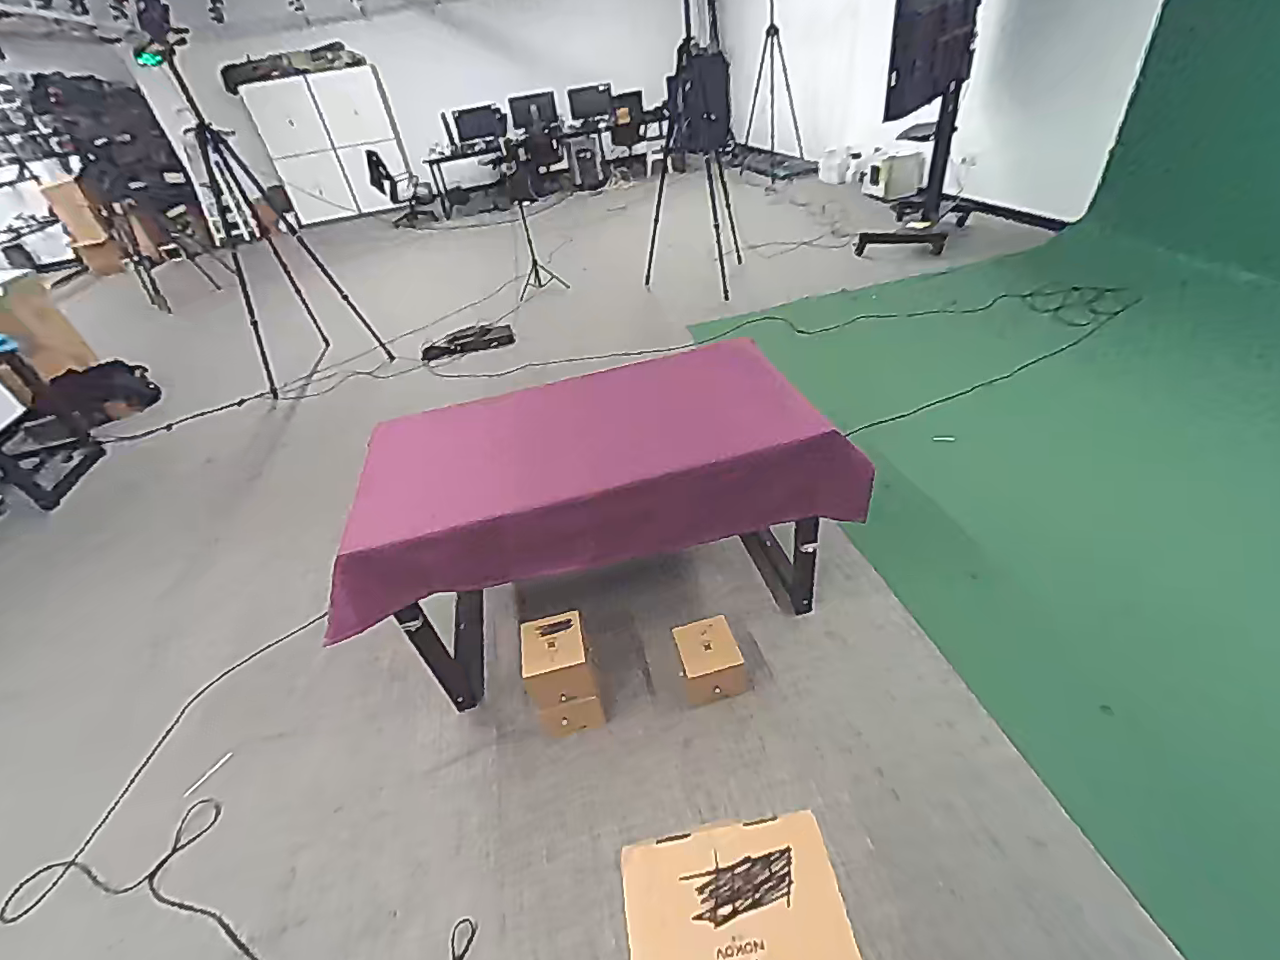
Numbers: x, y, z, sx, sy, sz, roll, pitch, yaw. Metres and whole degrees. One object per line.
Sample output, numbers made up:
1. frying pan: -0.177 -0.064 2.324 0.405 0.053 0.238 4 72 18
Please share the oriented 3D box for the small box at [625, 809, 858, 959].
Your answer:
1. small box: 0.086 0.407 0.456 0.168 0.176 0.179 -11 47 1
